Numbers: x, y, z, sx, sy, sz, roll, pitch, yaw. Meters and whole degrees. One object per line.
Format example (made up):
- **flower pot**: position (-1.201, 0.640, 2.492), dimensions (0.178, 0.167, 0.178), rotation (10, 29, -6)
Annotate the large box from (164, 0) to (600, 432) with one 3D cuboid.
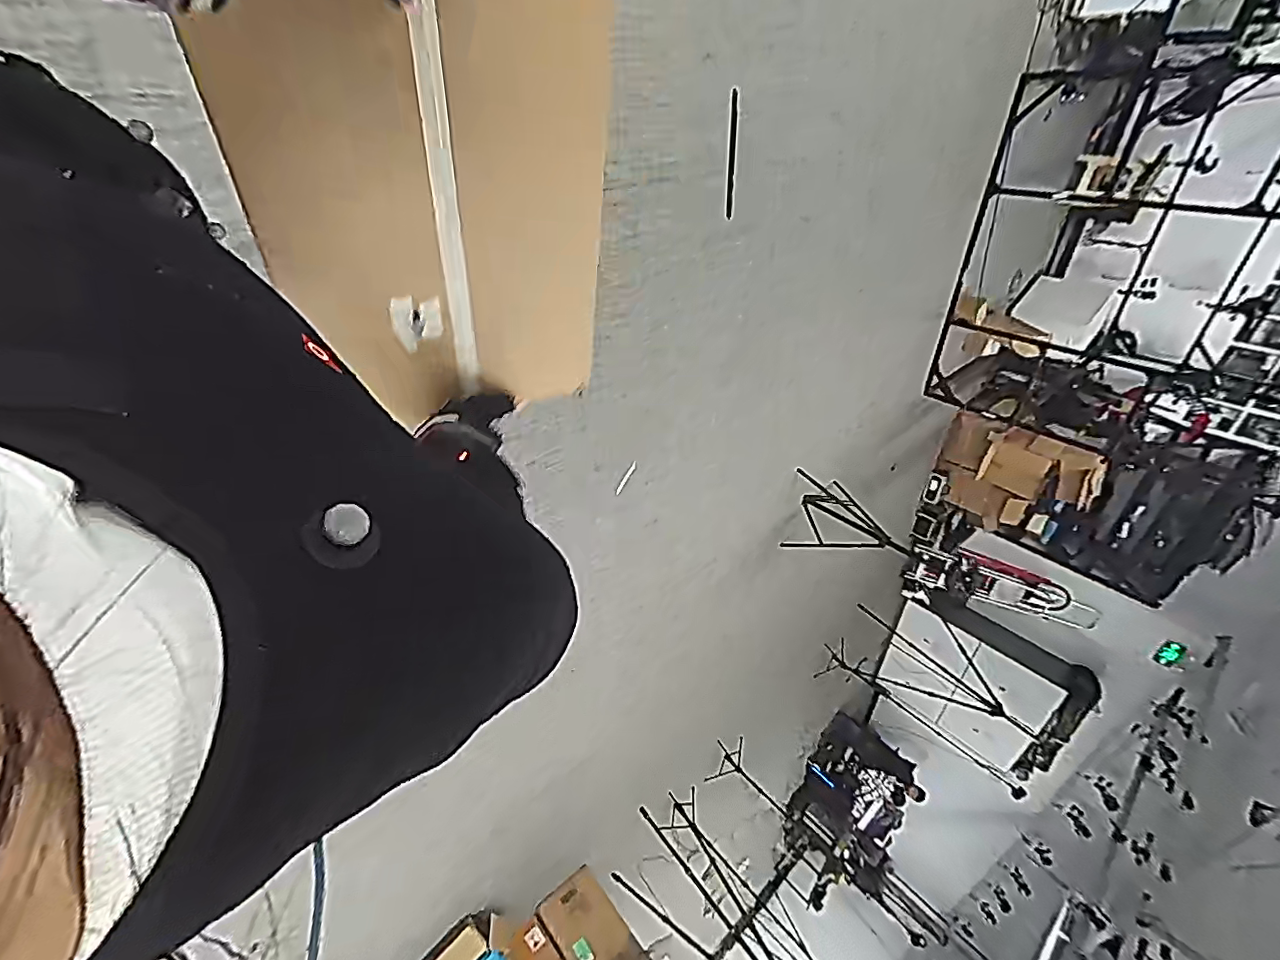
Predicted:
- **large box**: position (-0.262, -0.327, 0.619), dimensions (0.320, 0.320, 0.408), rotation (-14, 141, -24)
